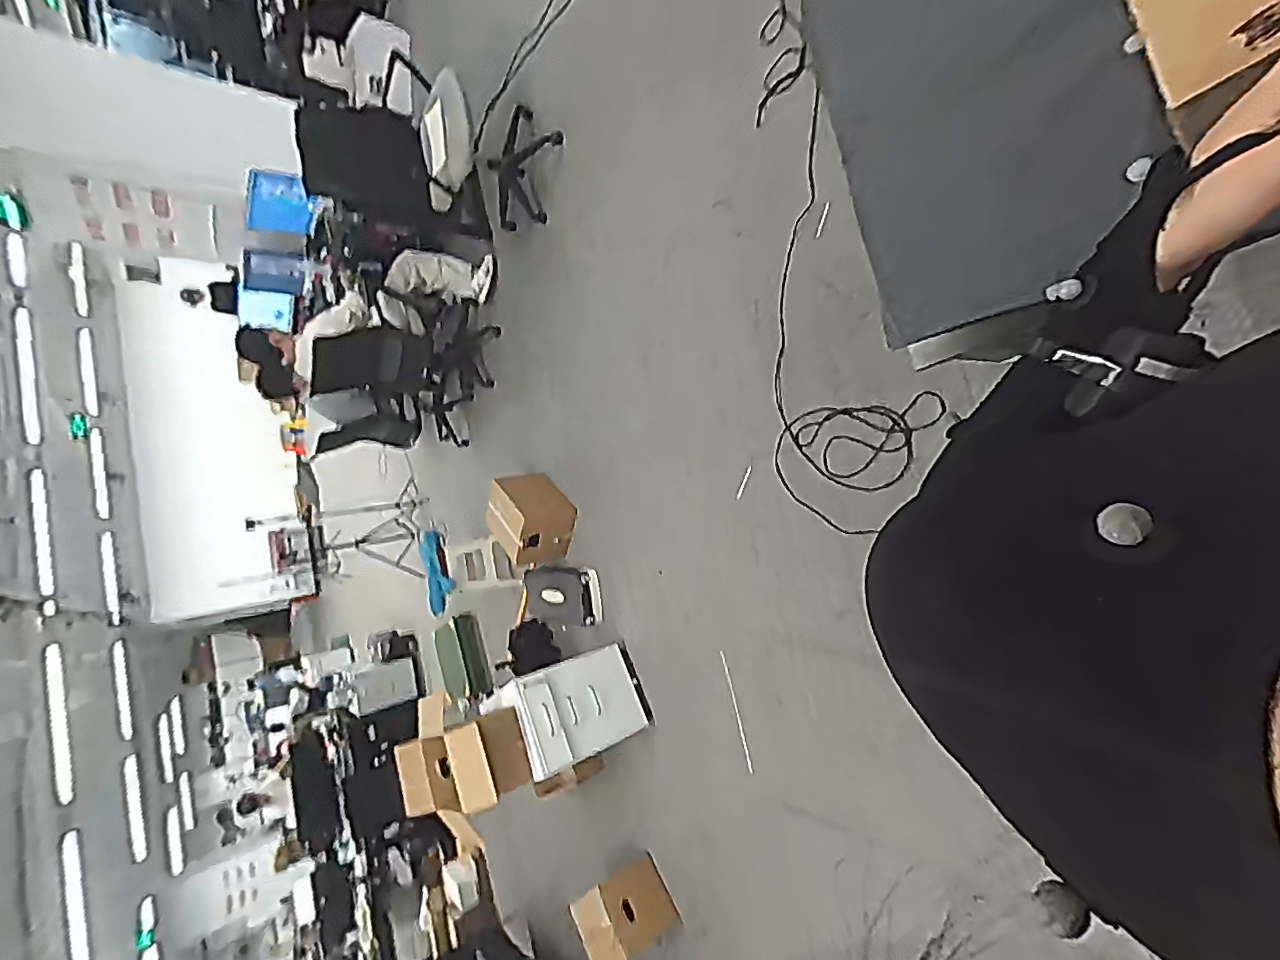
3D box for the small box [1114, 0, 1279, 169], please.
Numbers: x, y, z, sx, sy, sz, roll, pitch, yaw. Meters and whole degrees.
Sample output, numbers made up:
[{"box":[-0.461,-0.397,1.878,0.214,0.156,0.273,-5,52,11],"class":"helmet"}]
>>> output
[{"box":[0.516,-0.398,0.440,0.168,0.176,0.179,-21,78,51],"class":"small box"}]
